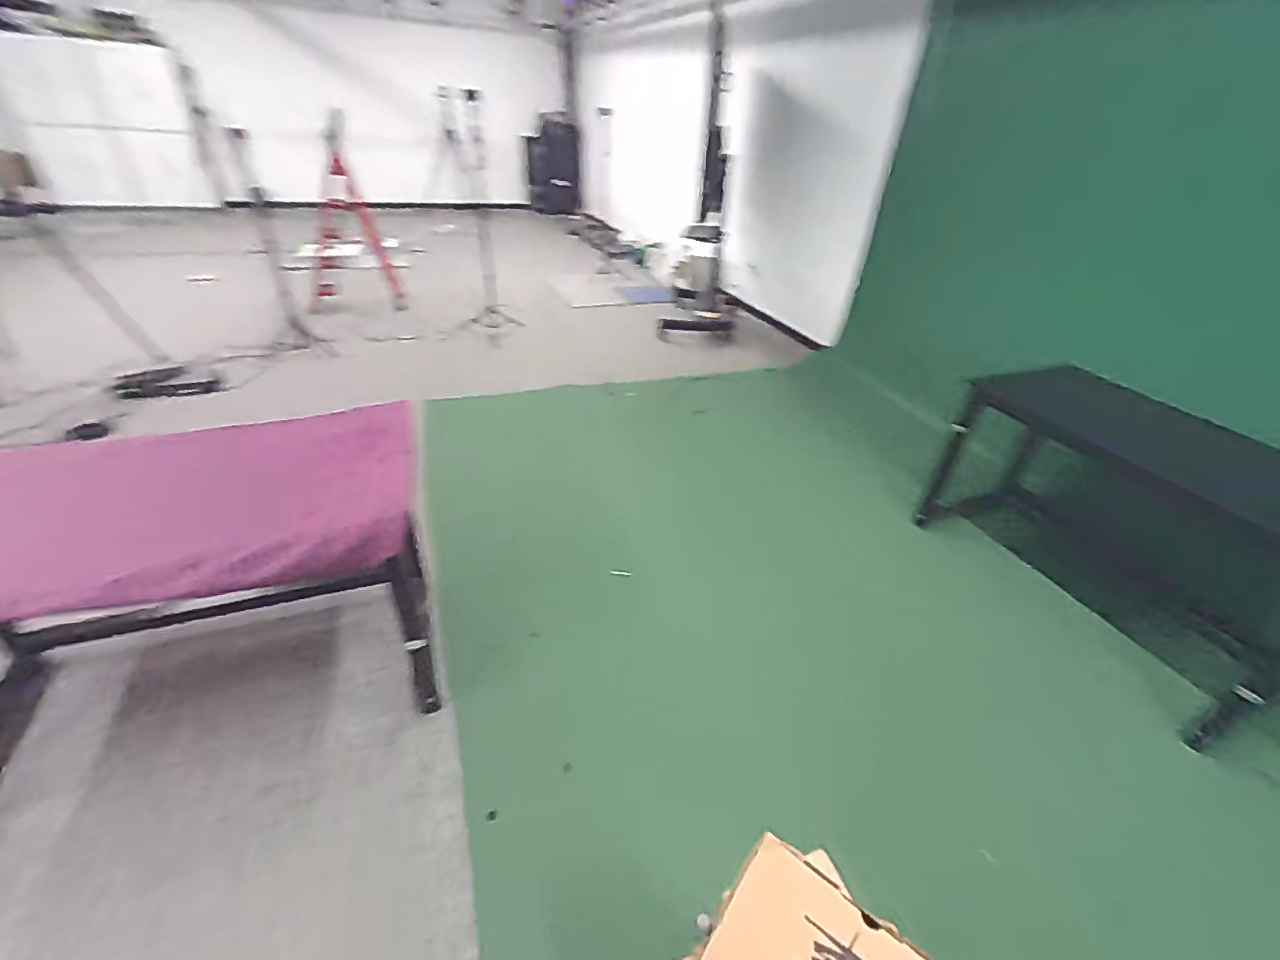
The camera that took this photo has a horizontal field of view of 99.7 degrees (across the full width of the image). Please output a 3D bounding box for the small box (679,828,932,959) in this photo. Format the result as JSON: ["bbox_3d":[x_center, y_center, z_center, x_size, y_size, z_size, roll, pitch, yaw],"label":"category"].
[{"bbox_3d":[0.104,0.395,0.385,0.168,0.176,0.179,27,57,25],"label":"small box"}]
